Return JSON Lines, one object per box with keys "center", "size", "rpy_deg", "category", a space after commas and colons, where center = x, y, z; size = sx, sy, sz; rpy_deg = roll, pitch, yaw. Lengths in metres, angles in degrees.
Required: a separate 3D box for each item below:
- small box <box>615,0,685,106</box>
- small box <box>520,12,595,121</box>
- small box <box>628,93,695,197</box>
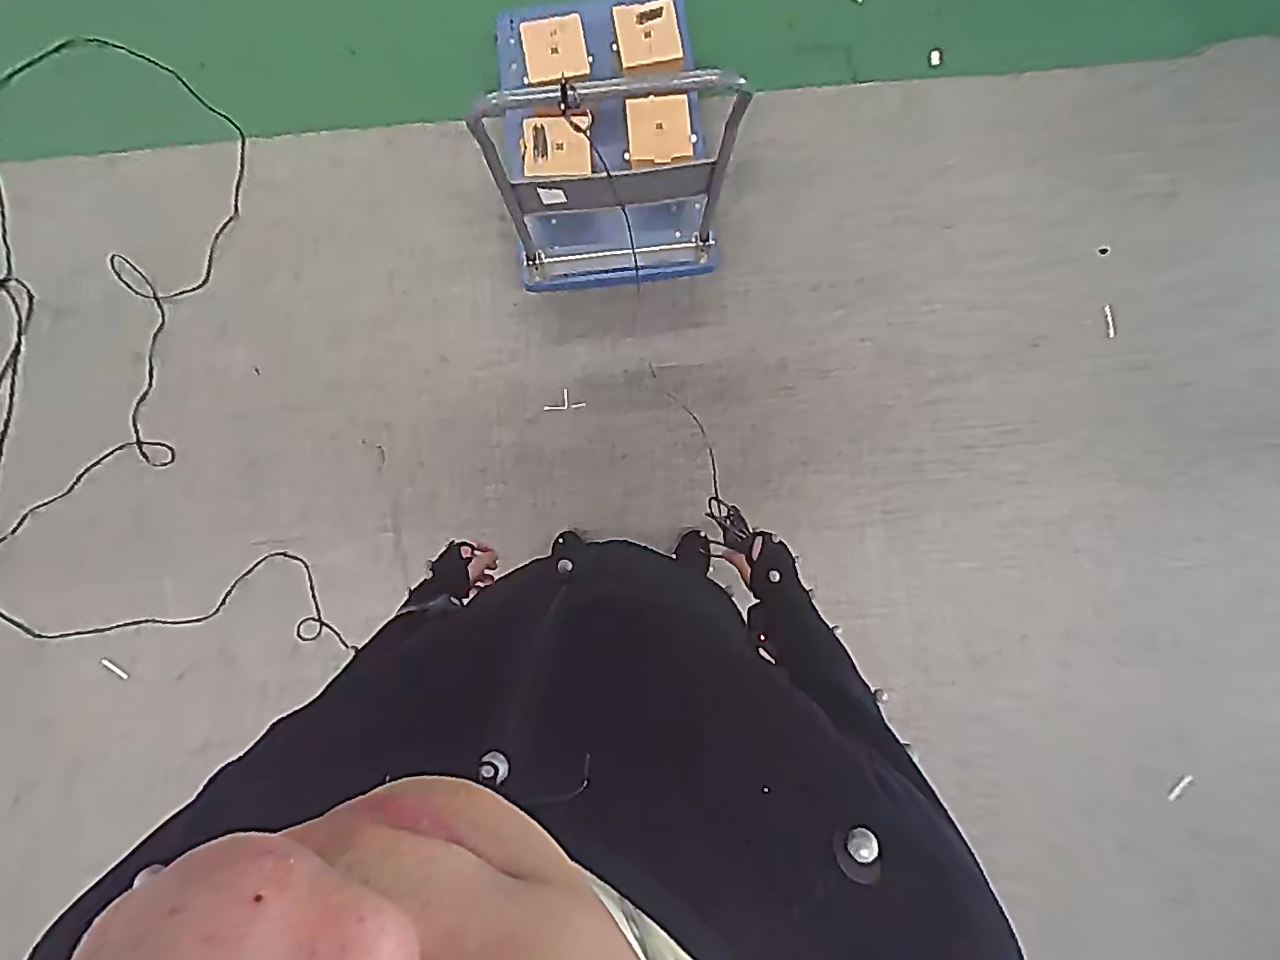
{"center": [0.025, -1.178, 1.499], "size": [0.168, 0.176, 0.179], "rpy_deg": [-10, 86, 0], "category": "small box"}
{"center": [-0.222, -1.132, 1.498], "size": [0.168, 0.176, 0.179], "rpy_deg": [-10, 85, -1], "category": "small box"}
{"center": [0.054, -0.910, 1.478], "size": [0.168, 0.176, 0.179], "rpy_deg": [-5, 86, 0], "category": "small box"}
